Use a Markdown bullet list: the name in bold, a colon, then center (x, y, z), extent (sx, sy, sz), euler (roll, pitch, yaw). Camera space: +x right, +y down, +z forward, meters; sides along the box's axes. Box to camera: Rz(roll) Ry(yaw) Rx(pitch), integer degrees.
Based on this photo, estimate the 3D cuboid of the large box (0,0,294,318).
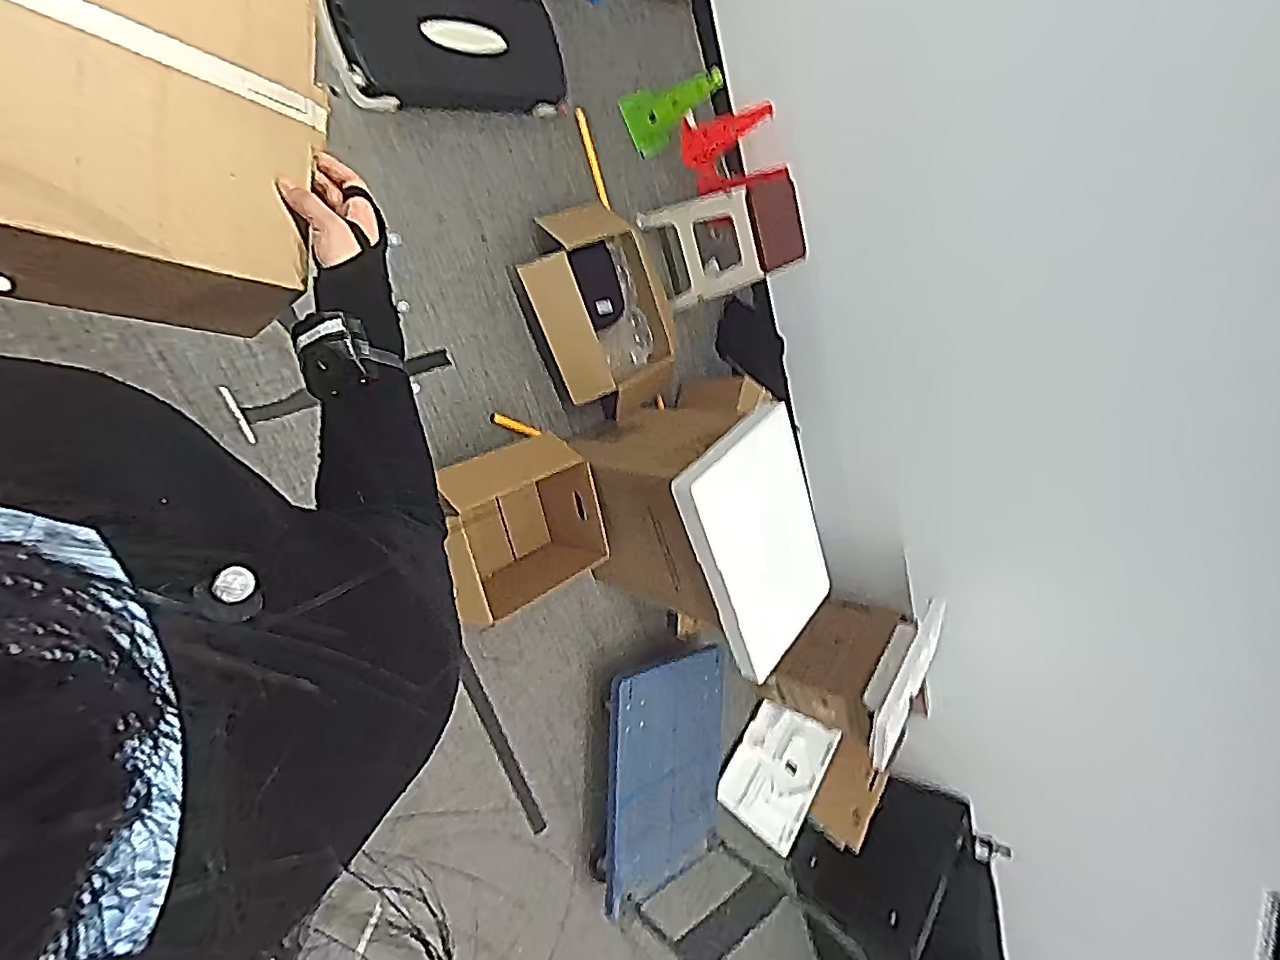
- **large box**: center (-0.554, -0.346, 0.459), extent (0.408, 0.320, 0.320), euler (1, 92, -43)
